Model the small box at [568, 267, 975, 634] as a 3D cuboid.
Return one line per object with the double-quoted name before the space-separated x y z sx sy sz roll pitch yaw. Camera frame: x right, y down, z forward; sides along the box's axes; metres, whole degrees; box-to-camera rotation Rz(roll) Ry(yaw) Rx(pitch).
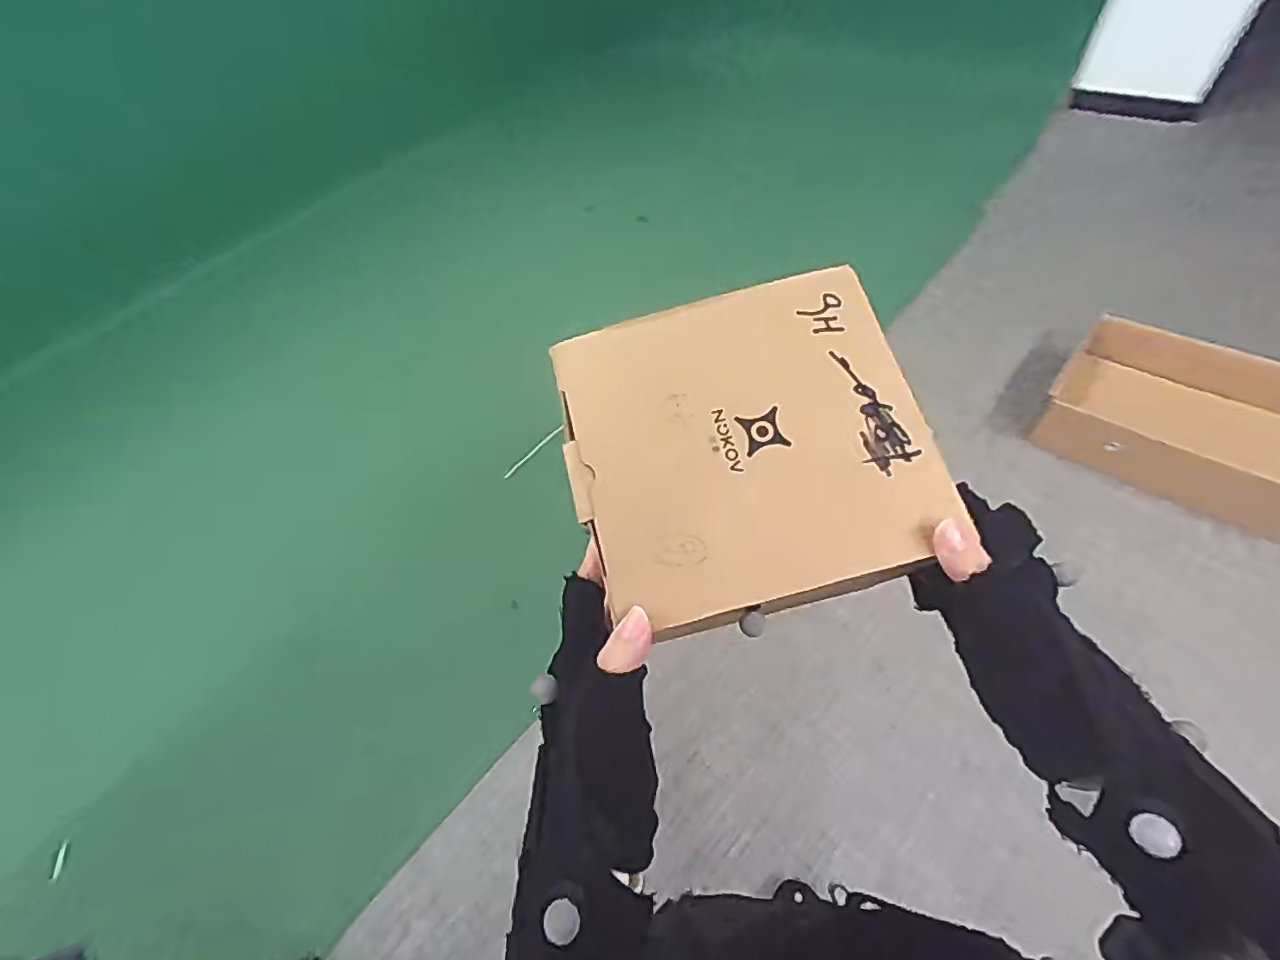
"small box" 0.068 -0.002 0.363 0.179 0.176 0.168 -16 70 -1
